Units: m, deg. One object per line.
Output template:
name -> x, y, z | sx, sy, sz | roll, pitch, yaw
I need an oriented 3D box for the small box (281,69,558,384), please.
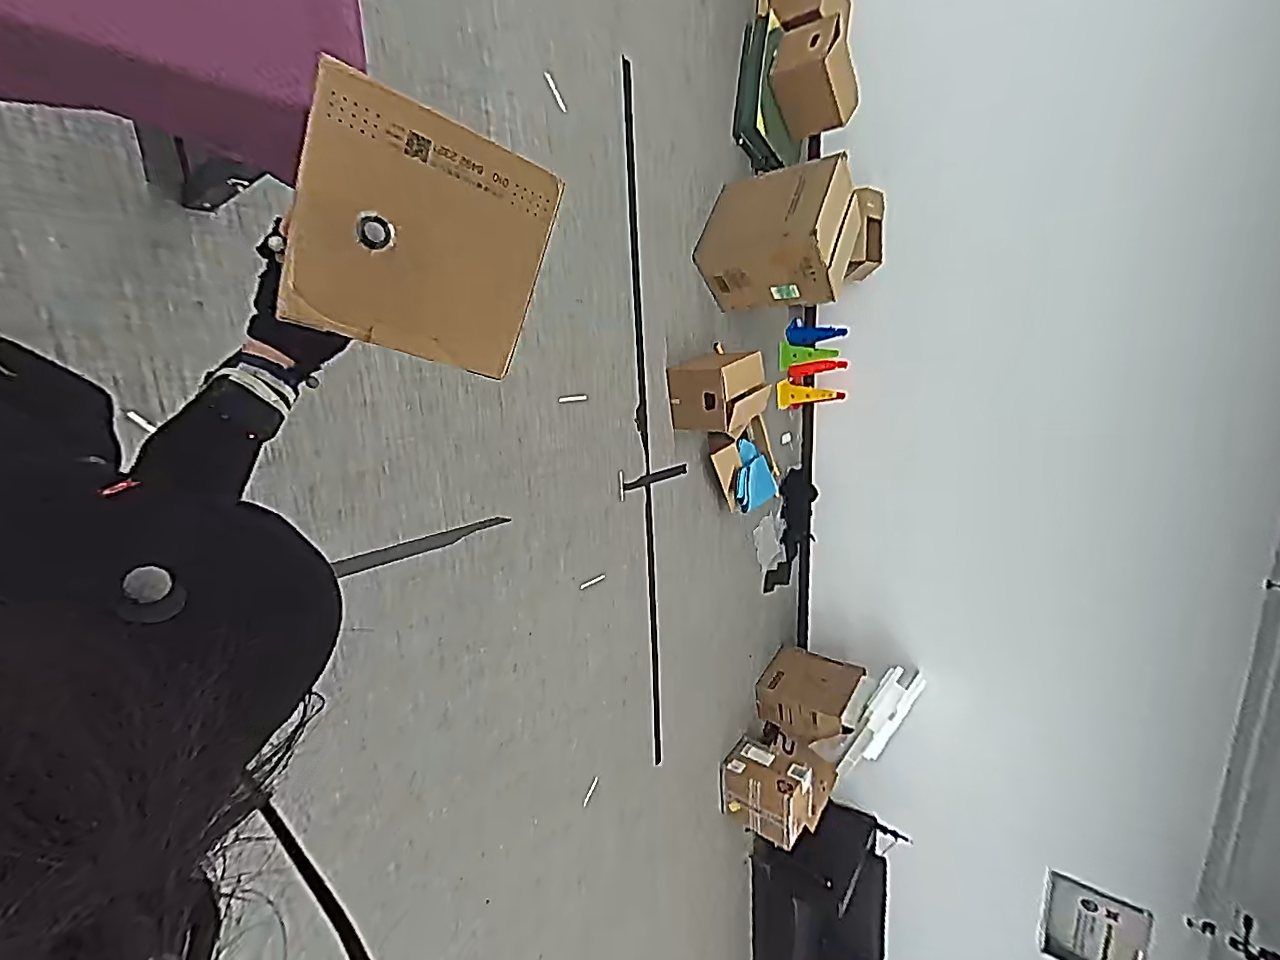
small box -> -0.185, -0.201, 0.452 | 0.168, 0.179, 0.176 | 14, 107, -35
